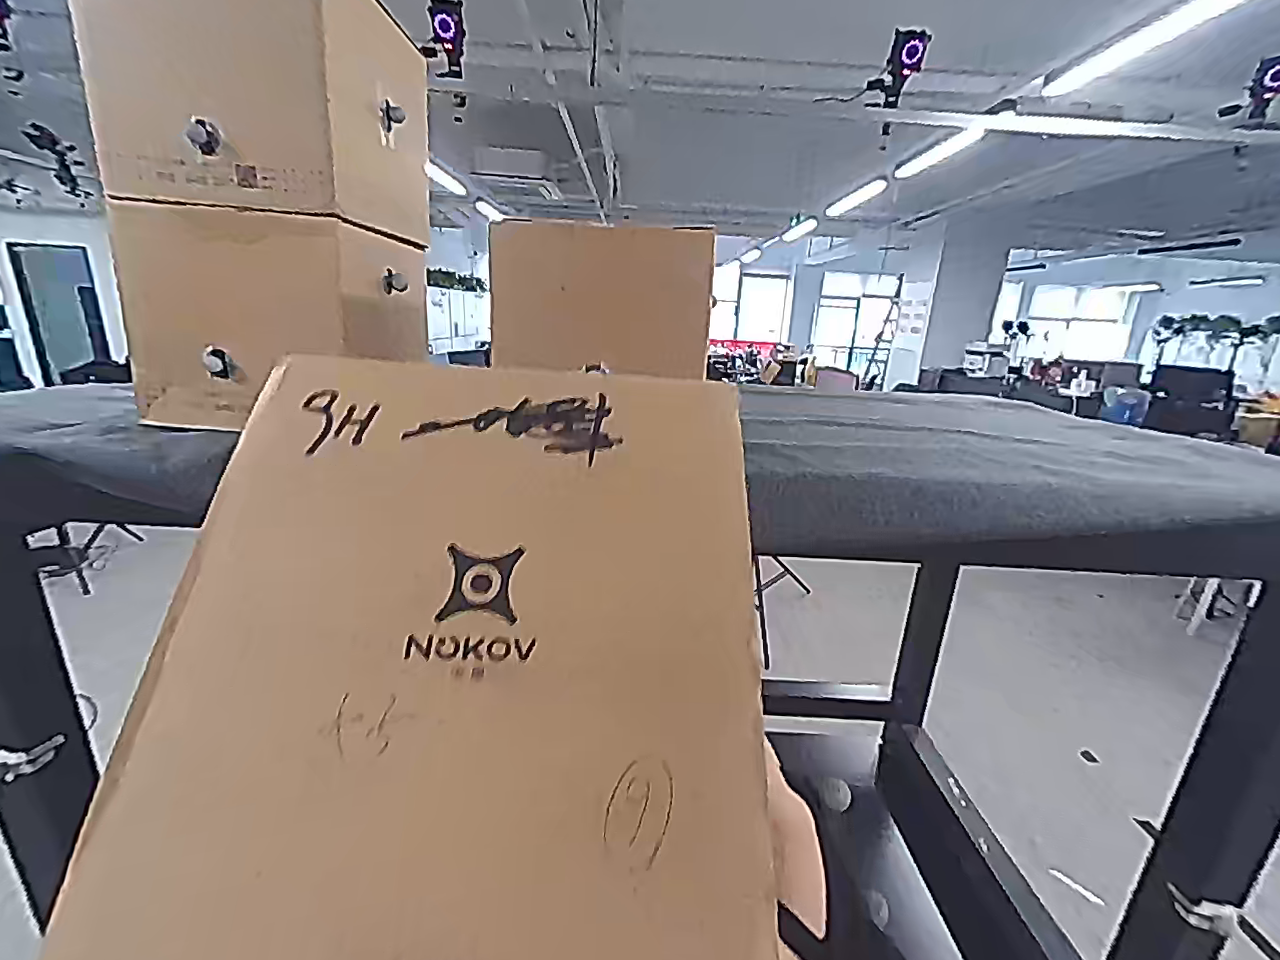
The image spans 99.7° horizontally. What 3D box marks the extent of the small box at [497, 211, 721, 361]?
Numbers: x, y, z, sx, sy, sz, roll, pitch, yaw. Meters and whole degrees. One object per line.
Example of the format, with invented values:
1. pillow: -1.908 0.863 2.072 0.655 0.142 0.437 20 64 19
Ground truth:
1. small box: -0.026 -0.127 0.485 0.168 0.176 0.179 3 15 0

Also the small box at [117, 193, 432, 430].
1. small box: -0.299 -0.138 0.485 0.168 0.176 0.179 4 15 -2

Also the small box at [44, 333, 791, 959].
1. small box: -0.049 0.066 0.225 0.168 0.179 0.176 3 -26 -4
